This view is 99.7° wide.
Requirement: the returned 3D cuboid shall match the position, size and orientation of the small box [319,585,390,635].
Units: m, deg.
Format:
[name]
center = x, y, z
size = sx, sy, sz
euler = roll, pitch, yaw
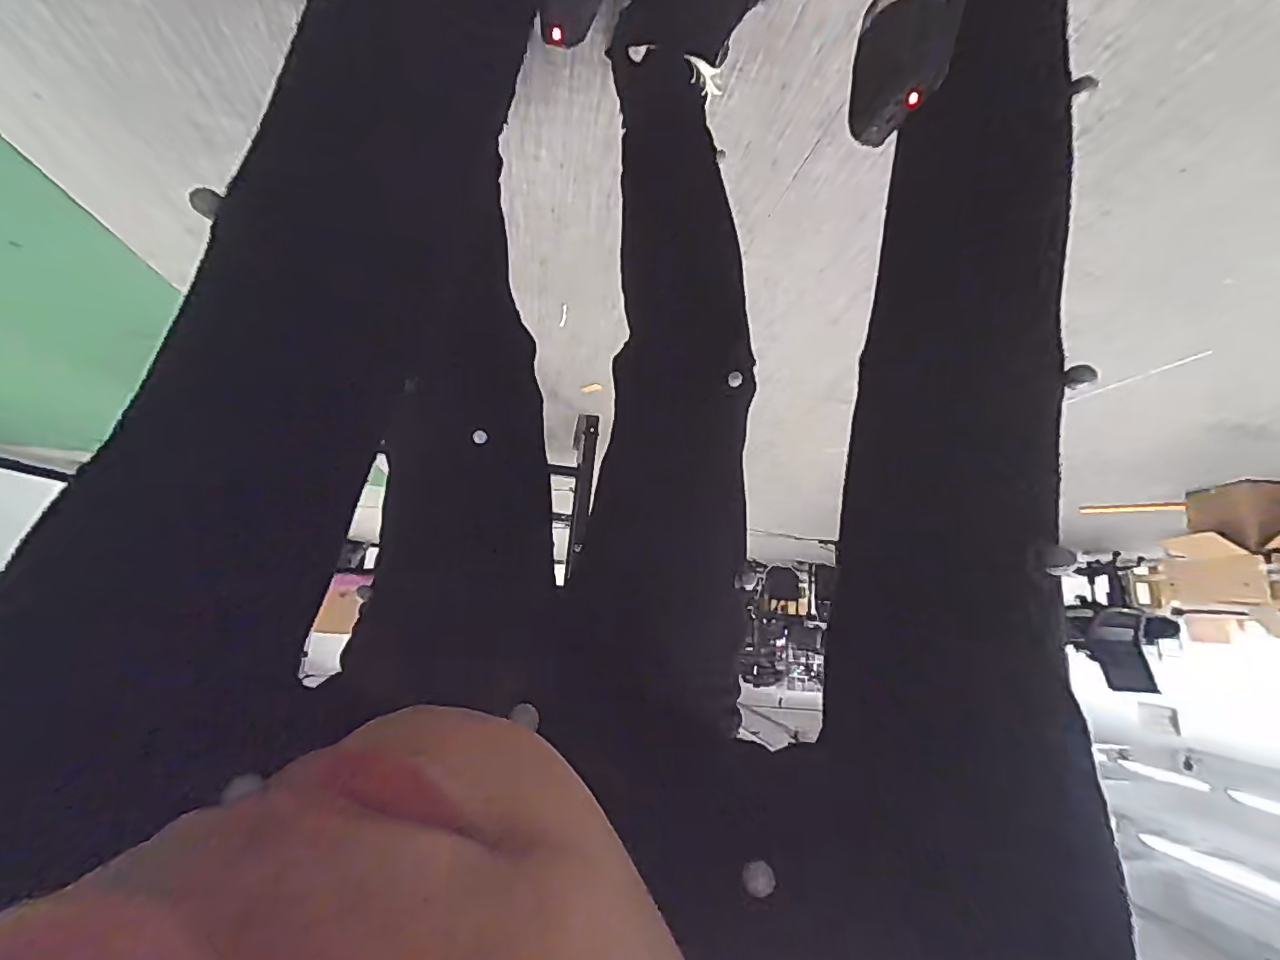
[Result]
[small box]
center = -1.059, 0.481, 2.016
size = 0.179, 0.176, 0.168
euler = 7, 167, -8
